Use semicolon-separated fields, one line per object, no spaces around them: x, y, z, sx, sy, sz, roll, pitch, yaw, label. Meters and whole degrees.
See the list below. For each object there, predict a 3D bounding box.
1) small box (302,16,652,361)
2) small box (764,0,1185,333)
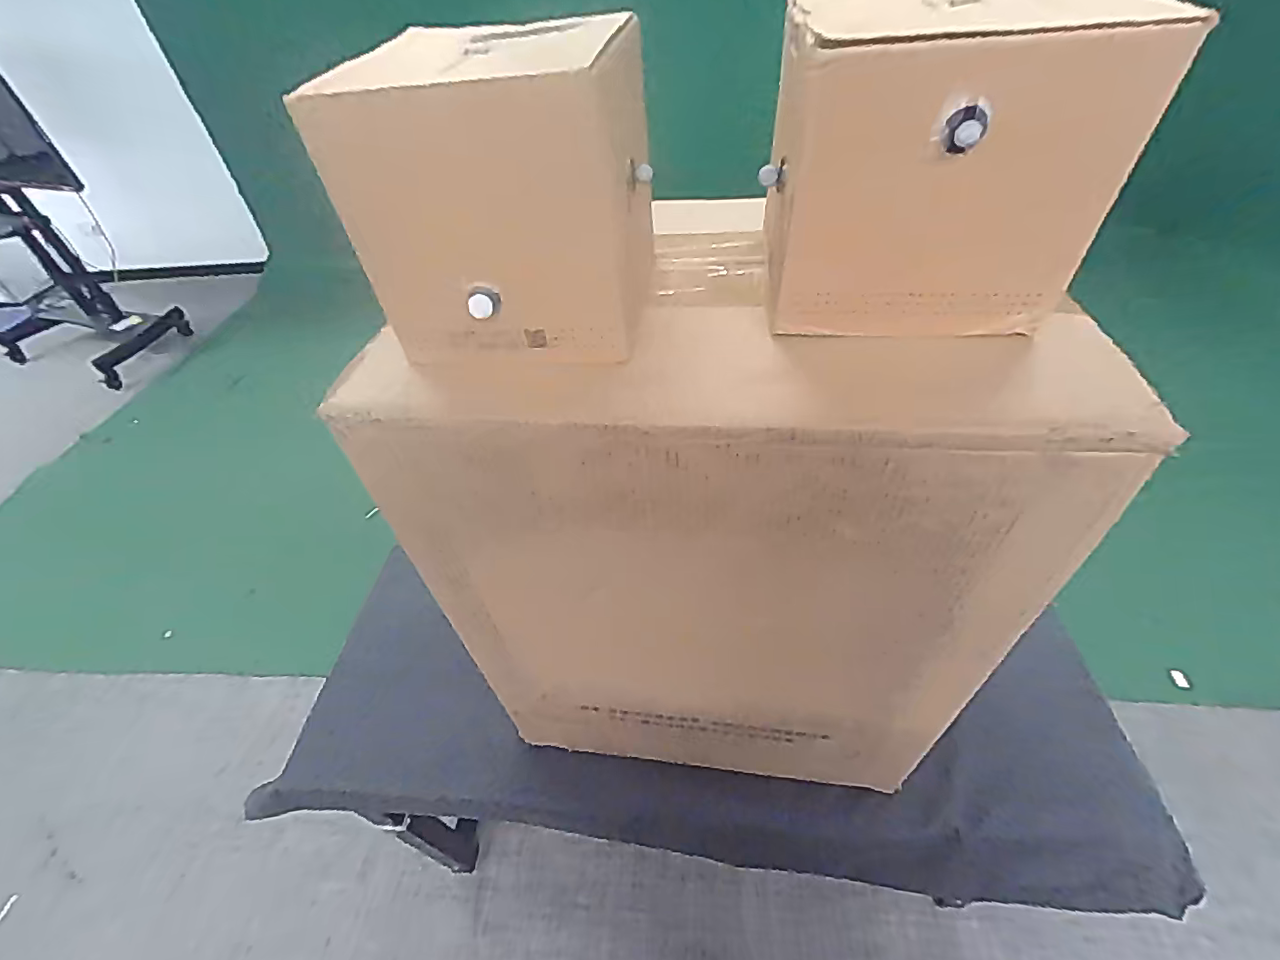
-0.084;-0.206;0.389;0.168;0.176;0.179;2;48;9;small box
0.181;-0.216;0.370;0.179;0.176;0.168;3;49;6;small box
